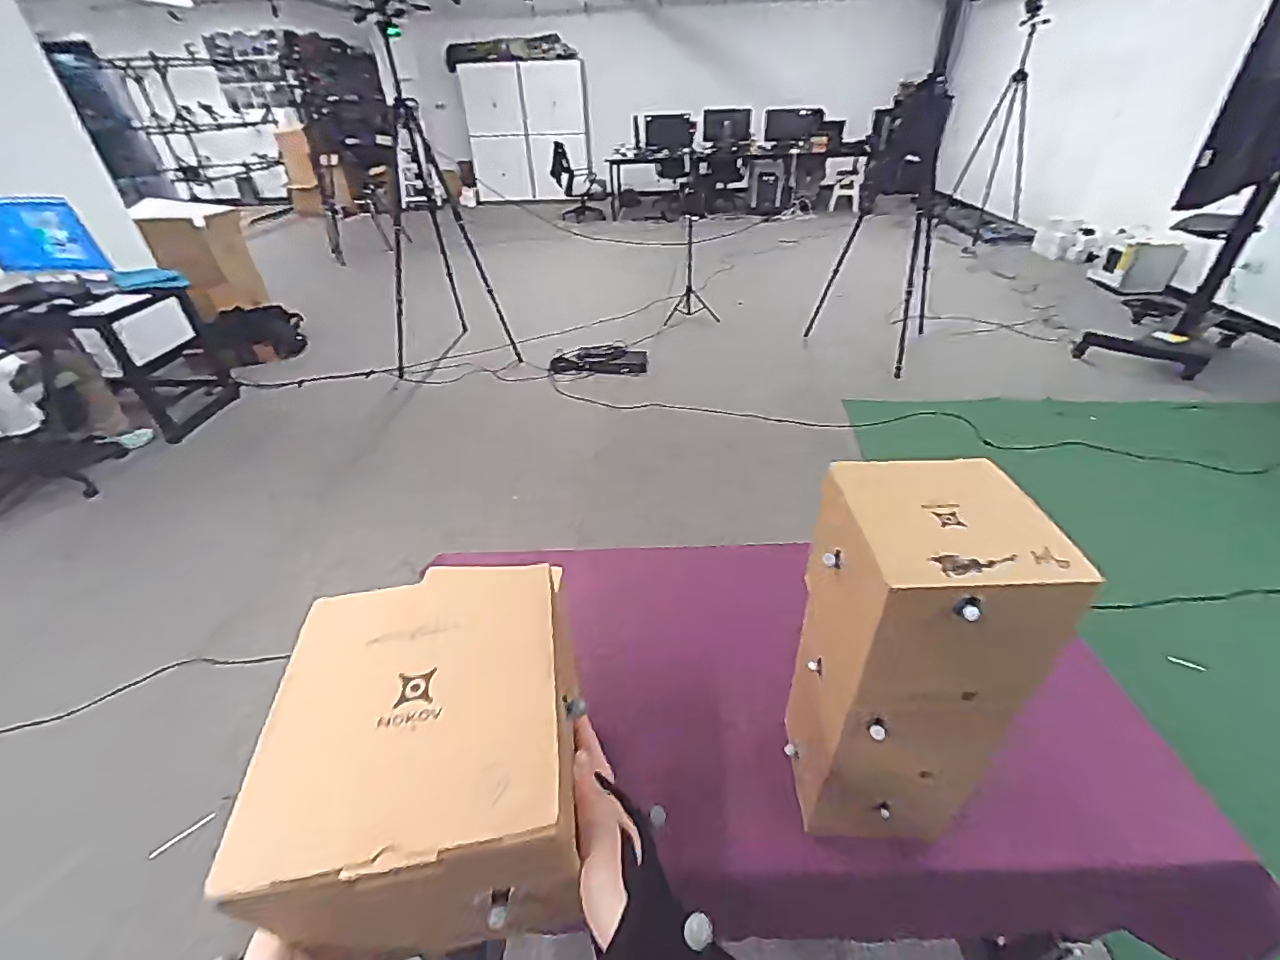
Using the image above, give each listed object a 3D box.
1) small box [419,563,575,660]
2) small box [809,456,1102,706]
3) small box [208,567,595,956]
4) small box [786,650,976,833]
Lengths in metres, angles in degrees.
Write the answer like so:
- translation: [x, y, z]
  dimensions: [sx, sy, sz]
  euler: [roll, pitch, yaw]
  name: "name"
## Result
- translation: [-0.182, 0.220, 0.663]
  dimensions: [0.179, 0.176, 0.168]
  euler: [-1, 36, 4]
  name: "small box"
- translation: [0.273, 0.093, 0.525]
  dimensions: [0.168, 0.176, 0.179]
  euler: [-3, 35, 2]
  name: "small box"
- translation: [-0.125, 0.188, 0.365]
  dimensions: [0.168, 0.176, 0.179]
  euler: [-7, 40, -5]
  name: "small box"
- translation: [0.305, 0.351, 0.729]
  dimensions: [0.179, 0.176, 0.168]
  euler: [-1, 36, 4]
  name: "small box"
